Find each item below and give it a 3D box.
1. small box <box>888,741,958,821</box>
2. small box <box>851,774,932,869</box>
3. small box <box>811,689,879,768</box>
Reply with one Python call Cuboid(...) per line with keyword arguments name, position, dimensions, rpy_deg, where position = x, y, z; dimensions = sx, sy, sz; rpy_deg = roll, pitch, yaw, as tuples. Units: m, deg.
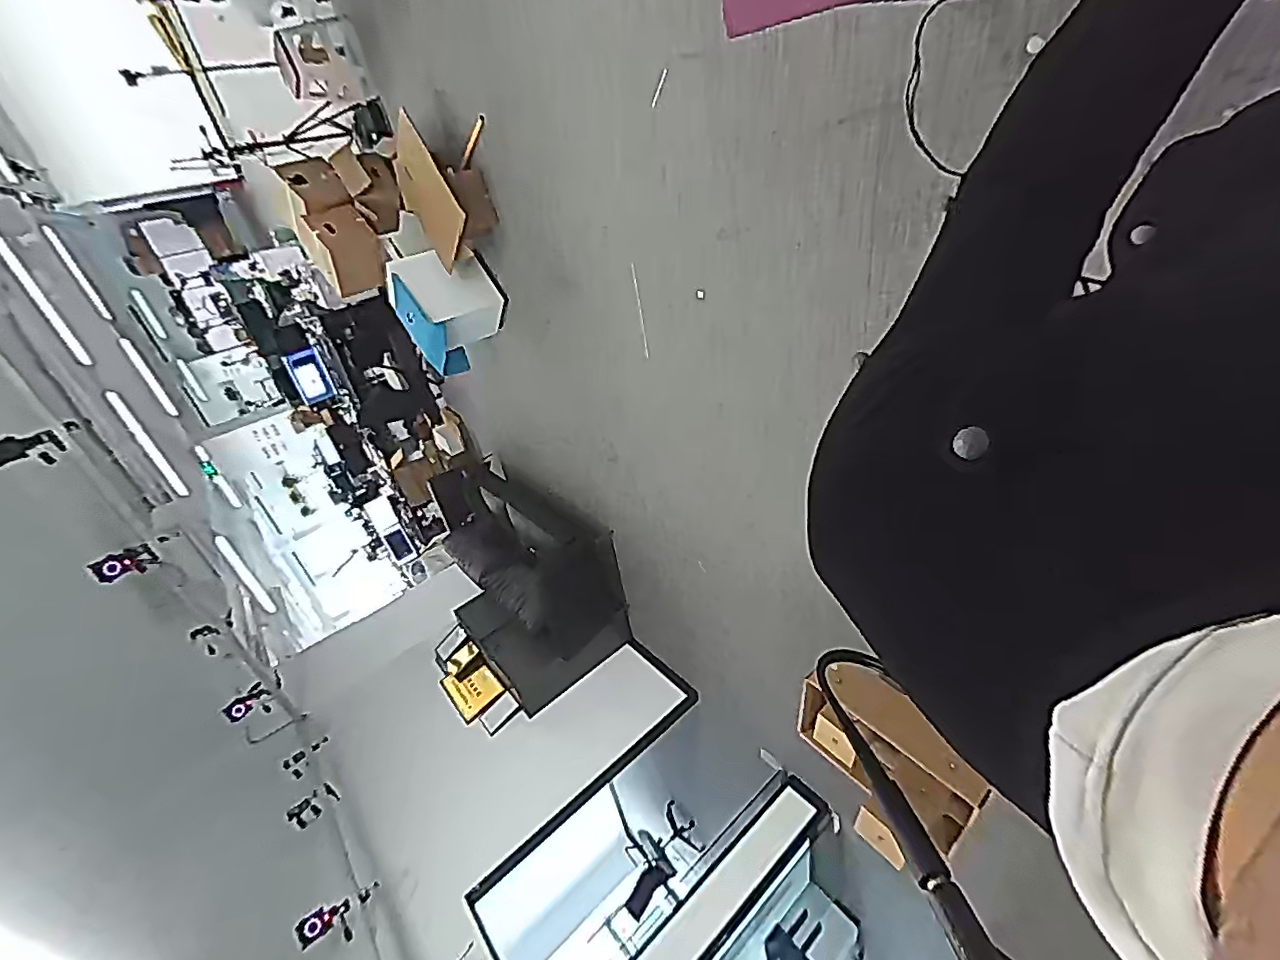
Cuboid(name="small box", position=(0.945, 1.036, 1.836), dimensions=(0.168, 0.176, 0.179), rpy_deg=(33, 142, 38))
Cuboid(name="small box", position=(0.818, 1.101, 1.755), dimensions=(0.168, 0.176, 0.179), rpy_deg=(34, 142, 40))
Cuboid(name="small box", position=(0.766, 0.919, 2.016), dimensions=(0.168, 0.176, 0.179), rpy_deg=(32, 141, 40))
